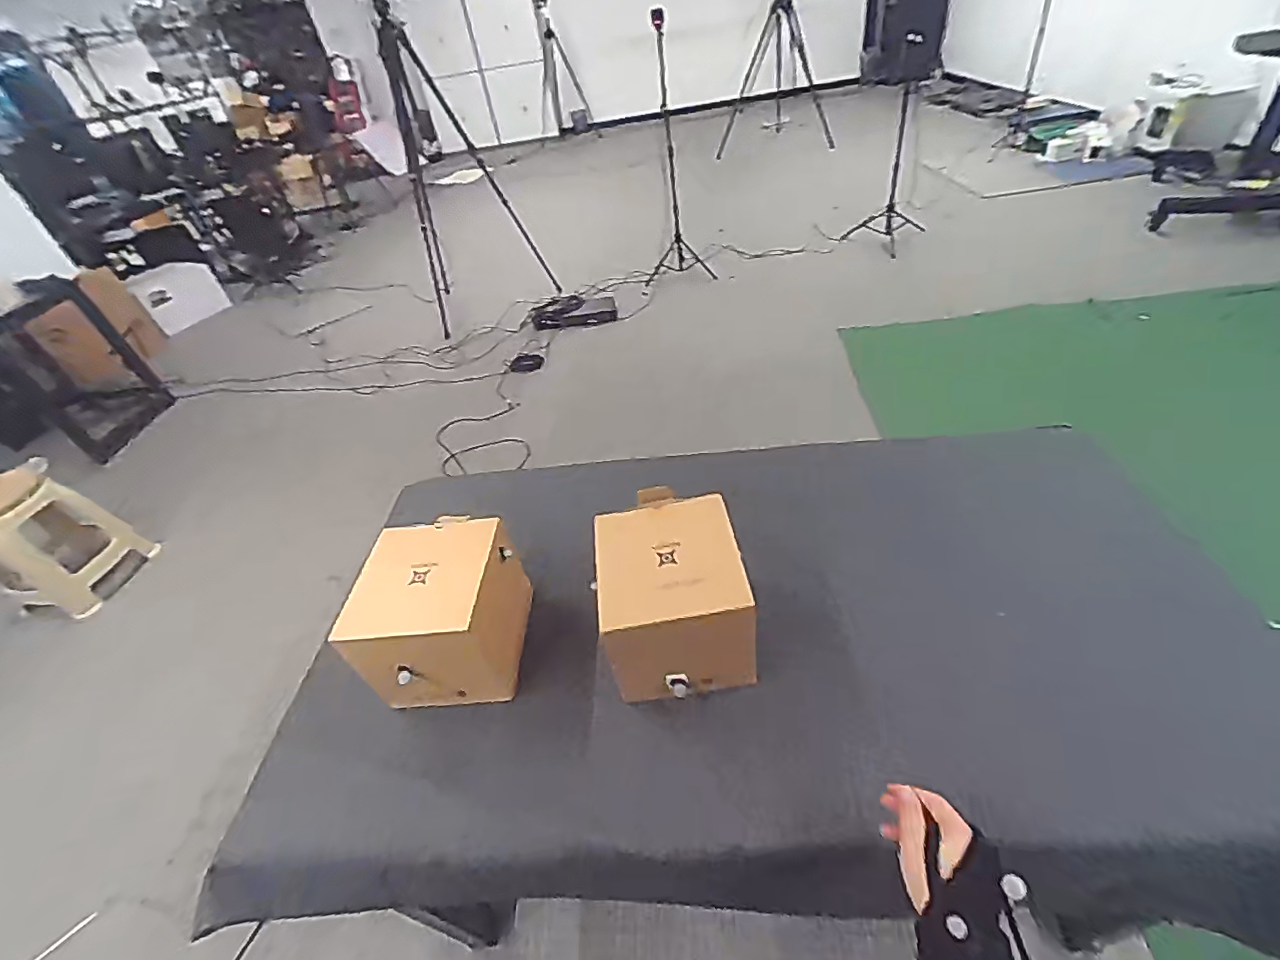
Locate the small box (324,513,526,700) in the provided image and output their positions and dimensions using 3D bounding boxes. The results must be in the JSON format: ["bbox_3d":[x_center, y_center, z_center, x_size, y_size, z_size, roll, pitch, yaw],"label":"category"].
[{"bbox_3d":[-0.258,0.169,0.701,0.168,0.176,0.179,-6,40,5],"label":"small box"}]

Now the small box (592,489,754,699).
[{"bbox_3d":[0.039,0.141,0.671,0.168,0.176,0.179,-11,41,1],"label":"small box"}]
